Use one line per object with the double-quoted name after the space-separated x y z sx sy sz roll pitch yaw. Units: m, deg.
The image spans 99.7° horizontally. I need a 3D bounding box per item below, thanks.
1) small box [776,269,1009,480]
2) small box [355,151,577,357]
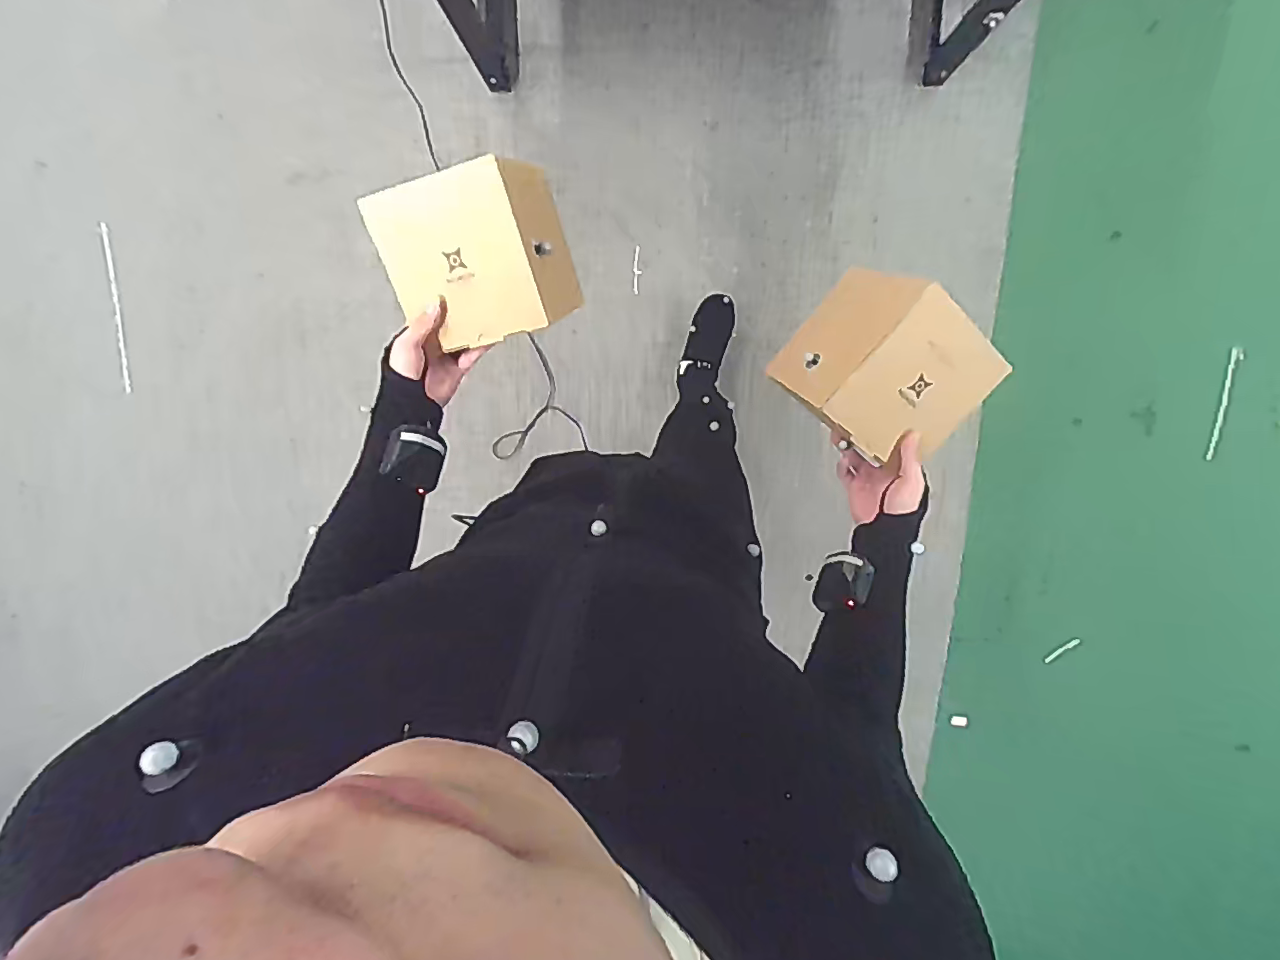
0.294 -0.137 0.675 0.168 0.176 0.179 33 105 -24 "small box"
-0.189 -0.267 0.647 0.168 0.176 0.179 -10 116 13 "small box"
